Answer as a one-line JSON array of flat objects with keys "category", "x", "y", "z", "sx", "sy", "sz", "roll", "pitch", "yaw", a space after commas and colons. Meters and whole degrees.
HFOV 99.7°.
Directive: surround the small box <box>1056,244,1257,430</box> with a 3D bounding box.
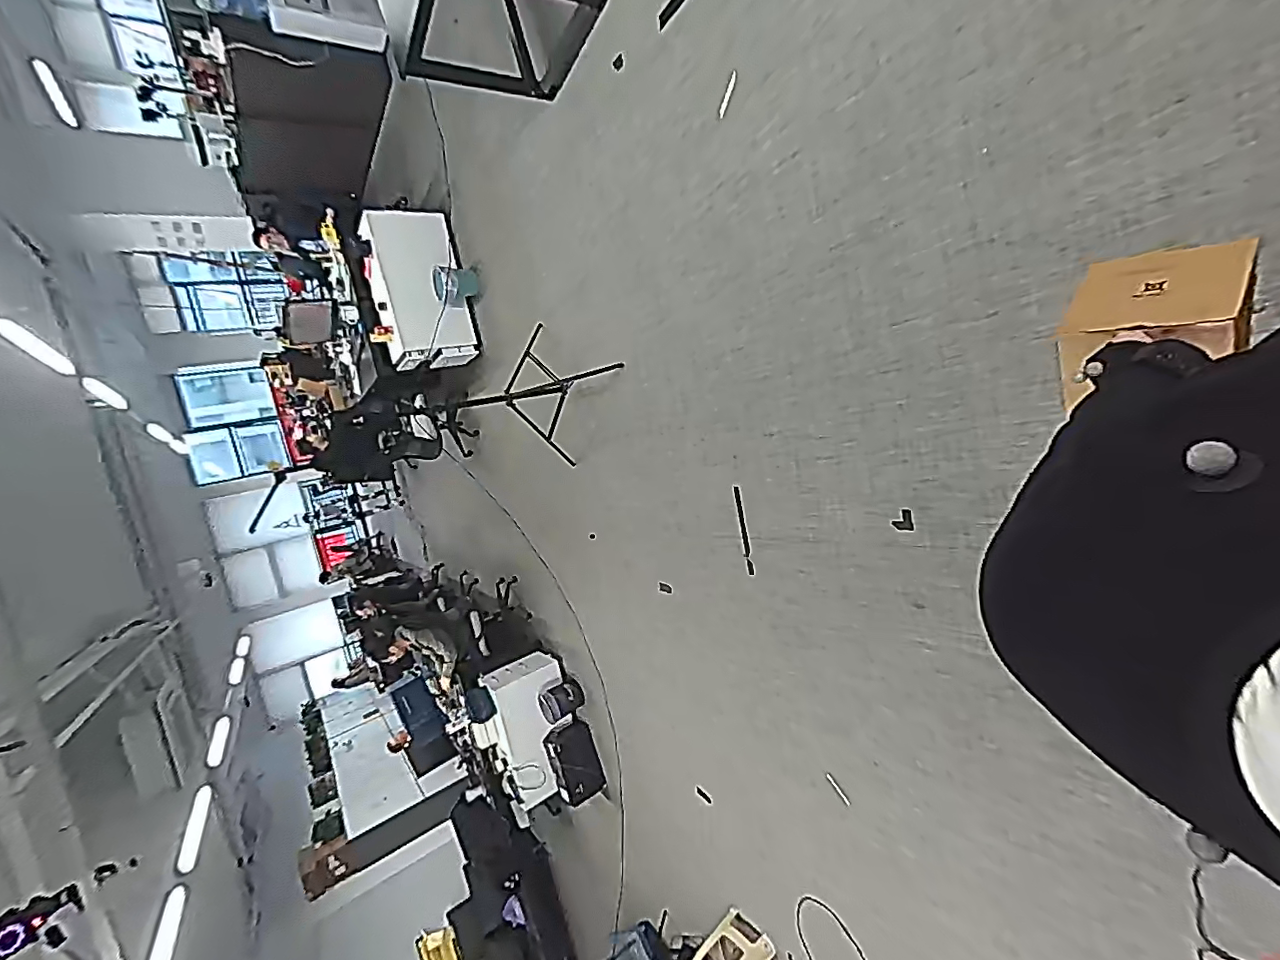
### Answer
[{"category": "small box", "x": 0.698, "y": -0.184, "z": 0.736, "sx": 0.168, "sy": 0.179, "sz": 0.176, "roll": 11, "pitch": 143, "yaw": 49}]
